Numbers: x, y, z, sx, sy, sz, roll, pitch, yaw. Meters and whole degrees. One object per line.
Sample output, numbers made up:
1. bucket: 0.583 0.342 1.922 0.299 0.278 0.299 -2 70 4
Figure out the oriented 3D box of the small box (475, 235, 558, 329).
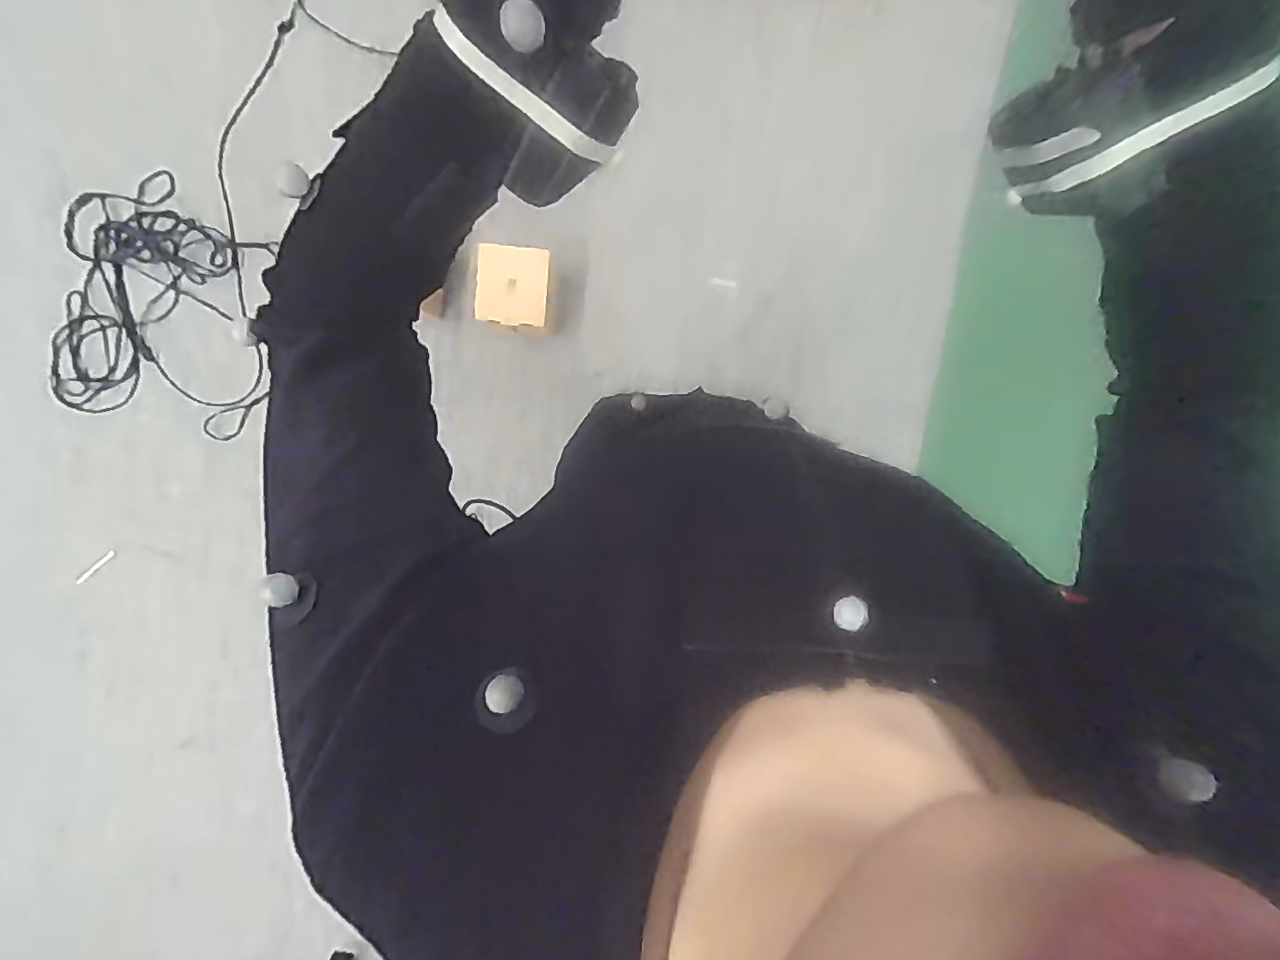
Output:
1. small box: -0.296 -0.477 1.327 0.168 0.176 0.179 5 98 -2
